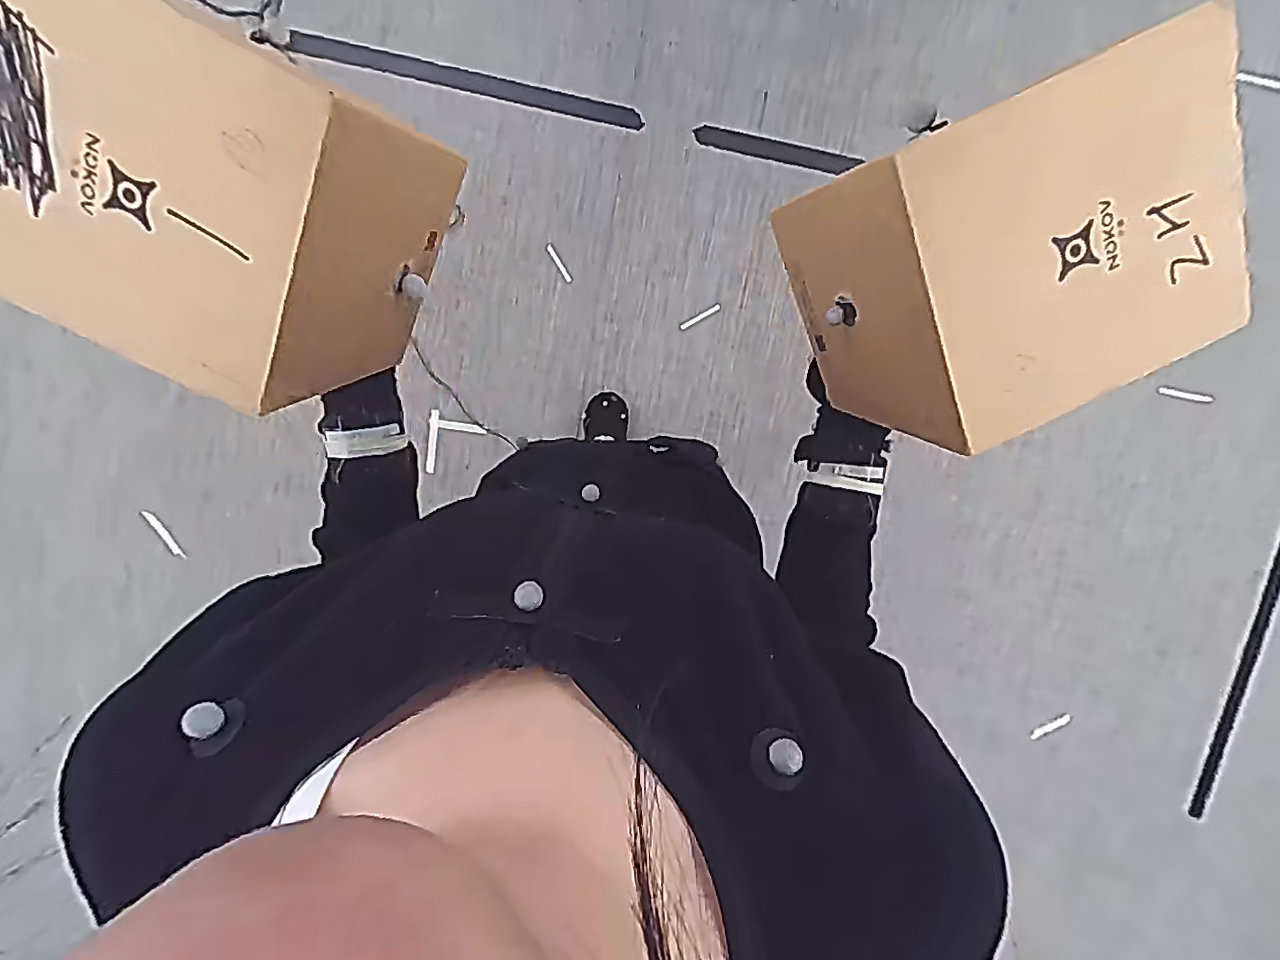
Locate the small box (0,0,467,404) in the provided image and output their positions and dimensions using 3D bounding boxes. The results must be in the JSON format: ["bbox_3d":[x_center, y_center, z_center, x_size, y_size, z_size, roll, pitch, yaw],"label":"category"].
[{"bbox_3d":[-0.235,-0.172,0.326,0.179,0.176,0.168,26,112,-8],"label":"small box"}]

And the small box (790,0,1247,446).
[{"bbox_3d":[0.217,-0.146,0.353,0.179,0.176,0.168,-26,110,1],"label":"small box"}]

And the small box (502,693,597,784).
[{"bbox_3d":[-0.178,0.527,1.004,0.168,0.176,0.179,15,96,-3],"label":"small box"}]
